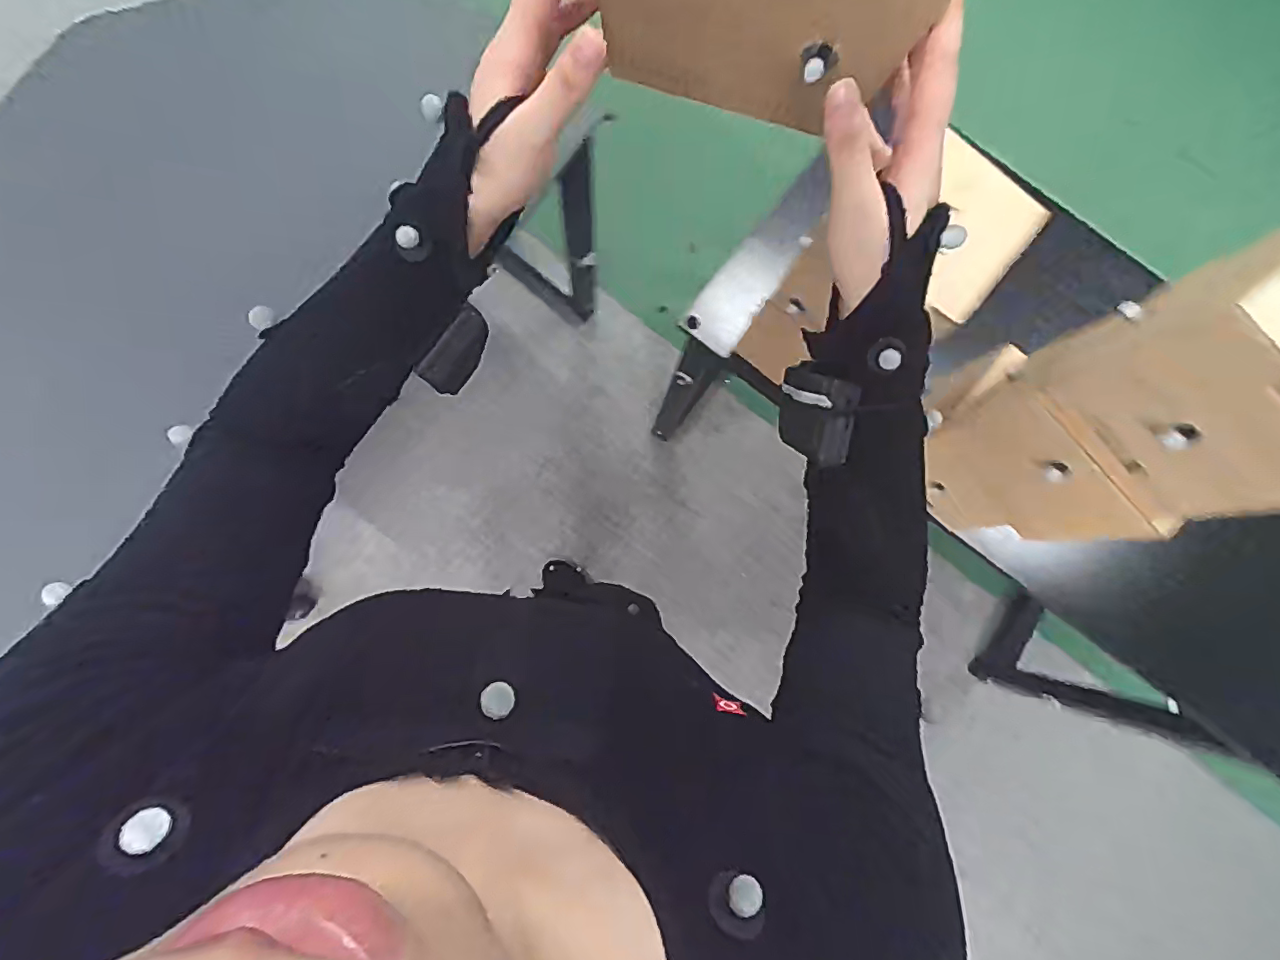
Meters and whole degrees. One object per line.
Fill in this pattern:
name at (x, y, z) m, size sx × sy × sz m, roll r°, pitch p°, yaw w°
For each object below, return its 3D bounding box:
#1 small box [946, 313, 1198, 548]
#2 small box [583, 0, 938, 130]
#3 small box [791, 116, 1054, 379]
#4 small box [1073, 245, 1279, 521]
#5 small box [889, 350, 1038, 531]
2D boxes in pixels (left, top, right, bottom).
small box at (0.495, -0.042, 0.598) m, size 0.168 × 0.176 × 0.179 m, roll -39°, pitch 86°, yaw -8°
small box at (0.069, -0.323, 0.289) m, size 0.179 × 0.176 × 0.168 m, roll 13°, pitch 100°, yaw -2°
small box at (0.295, -0.244, 0.612) m, size 0.168 × 0.176 × 0.179 m, roll 42°, pitch 80°, yaw 2°
small box at (0.511, -0.081, 0.439) m, size 0.179 × 0.176 × 0.168 m, roll -36°, pitch 84°, yaw -7°
small box at (0.487, -0.043, 0.762) m, size 0.168 × 0.176 × 0.179 m, roll 43°, pitch 81°, yaw 2°
